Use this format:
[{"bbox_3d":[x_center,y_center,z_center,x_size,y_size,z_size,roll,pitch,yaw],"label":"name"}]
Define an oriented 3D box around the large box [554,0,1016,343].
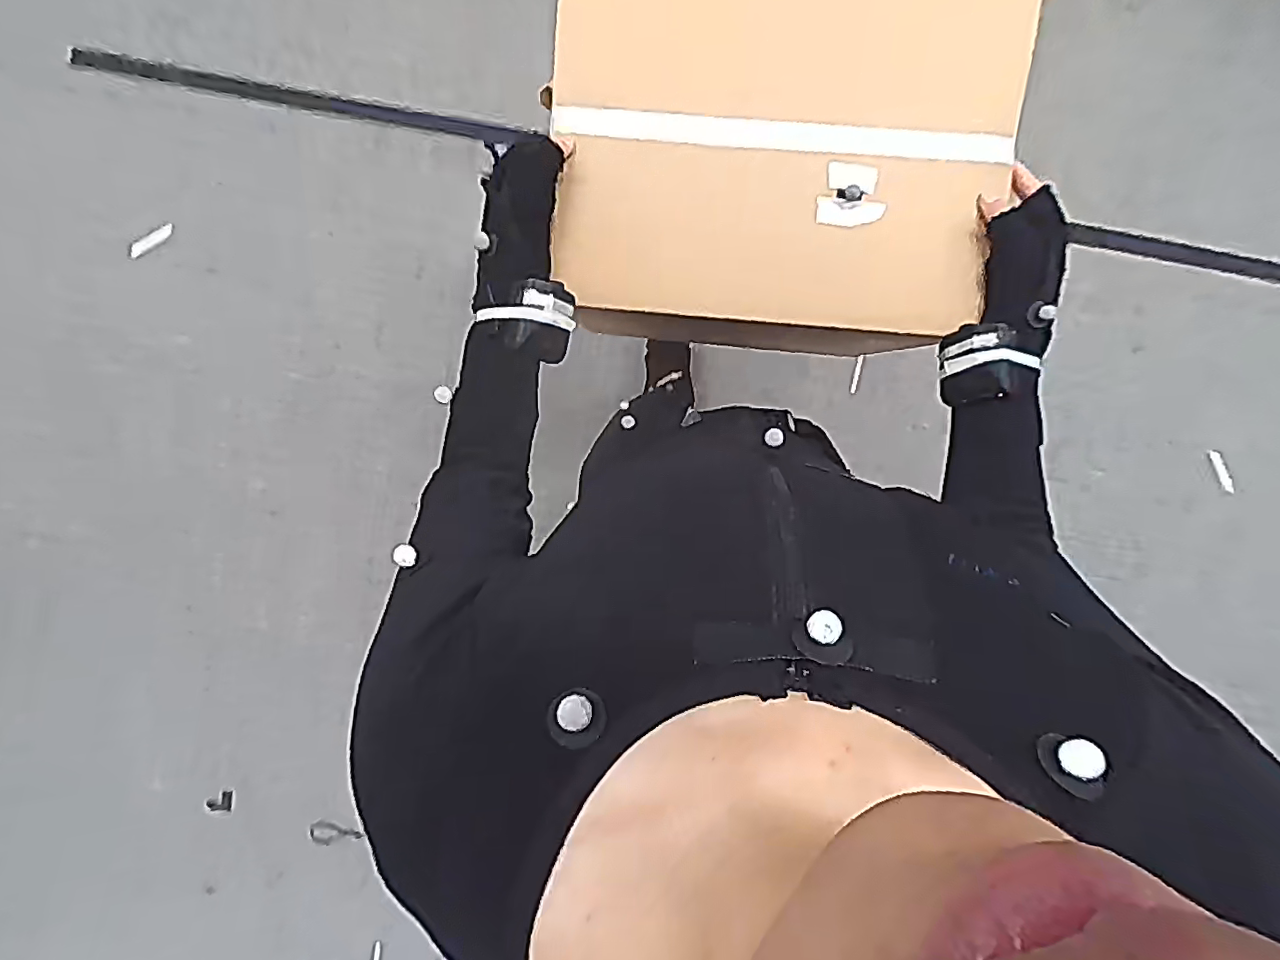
[{"bbox_3d":[0.126,-0.343,0.642,0.408,0.320,0.320,5,101,1],"label":"large box"}]
